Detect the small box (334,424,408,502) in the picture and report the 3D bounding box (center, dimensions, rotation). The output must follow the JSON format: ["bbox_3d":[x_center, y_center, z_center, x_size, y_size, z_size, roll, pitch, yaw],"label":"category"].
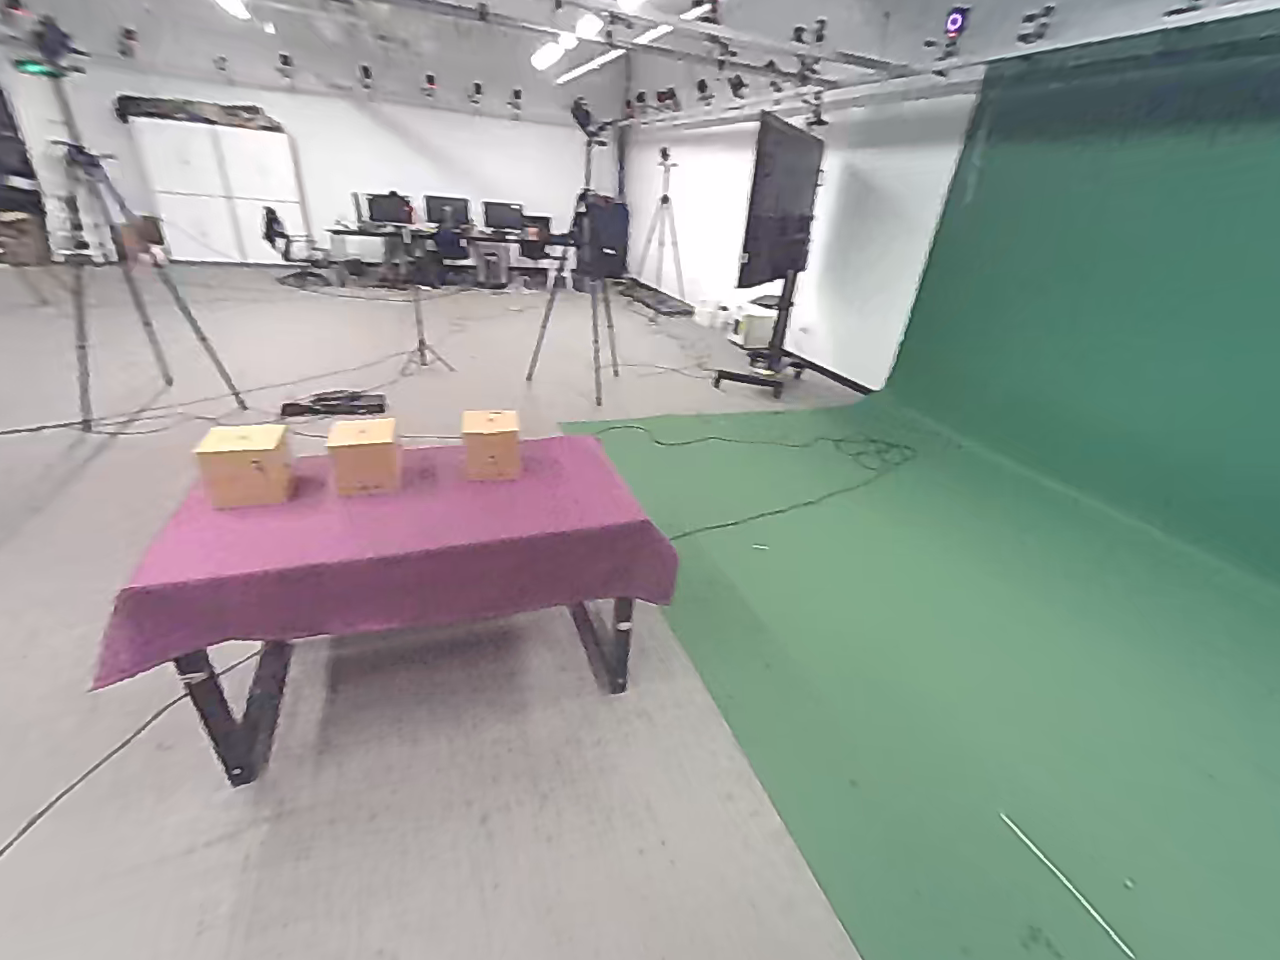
[{"bbox_3d":[-0.787,-0.052,1.599,0.168,0.176,0.179,-6,30,-18],"label":"small box"}]

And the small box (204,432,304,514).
[{"bbox_3d":[-1.055,-0.022,1.498,0.179,0.176,0.168,-5,29,-18],"label":"small box"}]

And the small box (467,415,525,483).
[{"bbox_3d":[-0.457,-0.097,1.727,0.168,0.176,0.179,-2,29,-13],"label":"small box"}]
